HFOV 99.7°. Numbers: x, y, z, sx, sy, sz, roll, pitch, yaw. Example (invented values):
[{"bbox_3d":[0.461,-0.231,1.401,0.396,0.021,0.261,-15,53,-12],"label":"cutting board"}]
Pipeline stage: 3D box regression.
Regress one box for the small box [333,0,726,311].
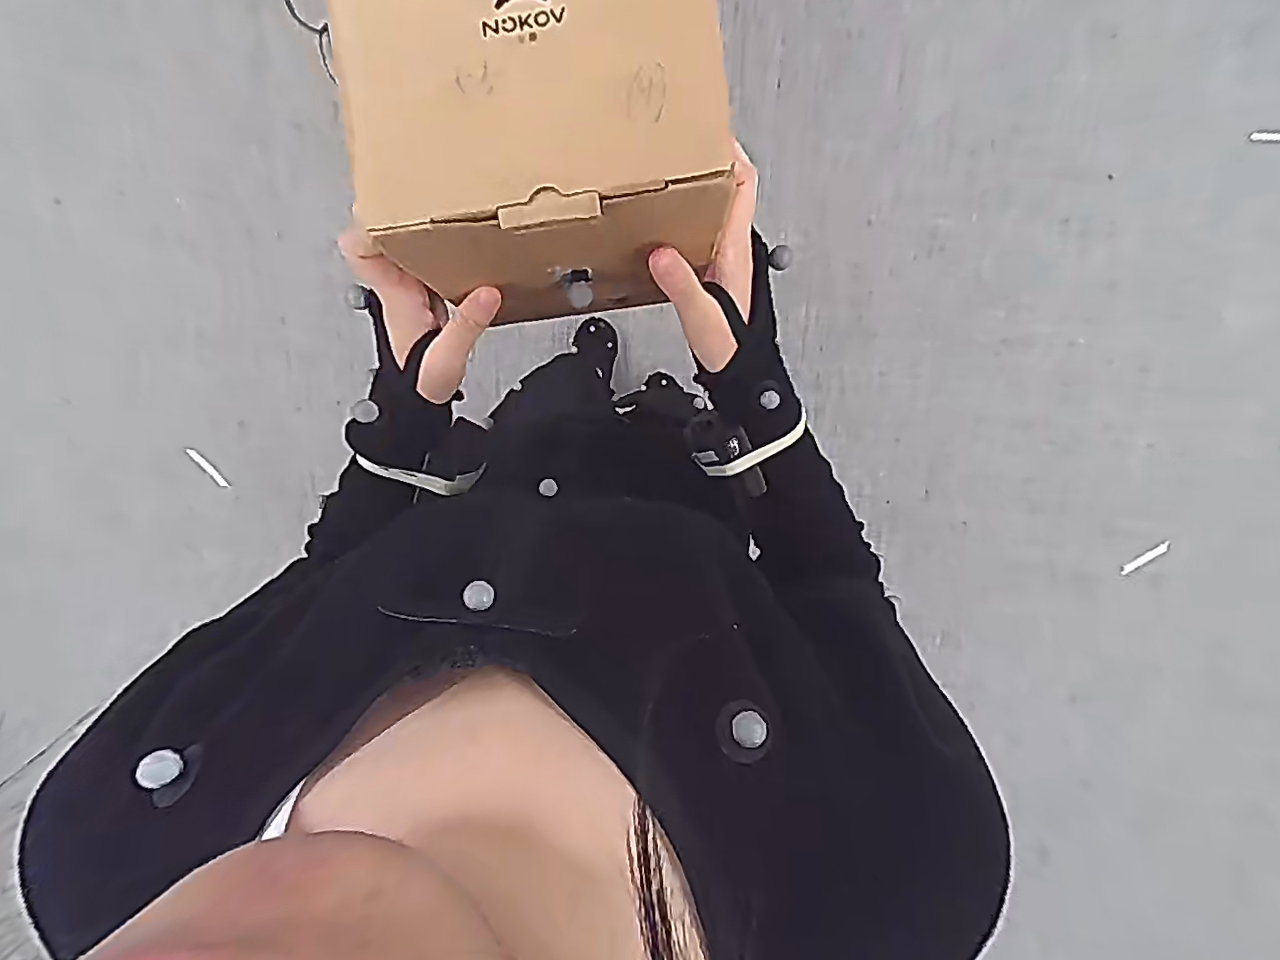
[{"bbox_3d":[-0.048,-0.207,0.313,0.168,0.176,0.179,-7,92,1],"label":"small box"}]
